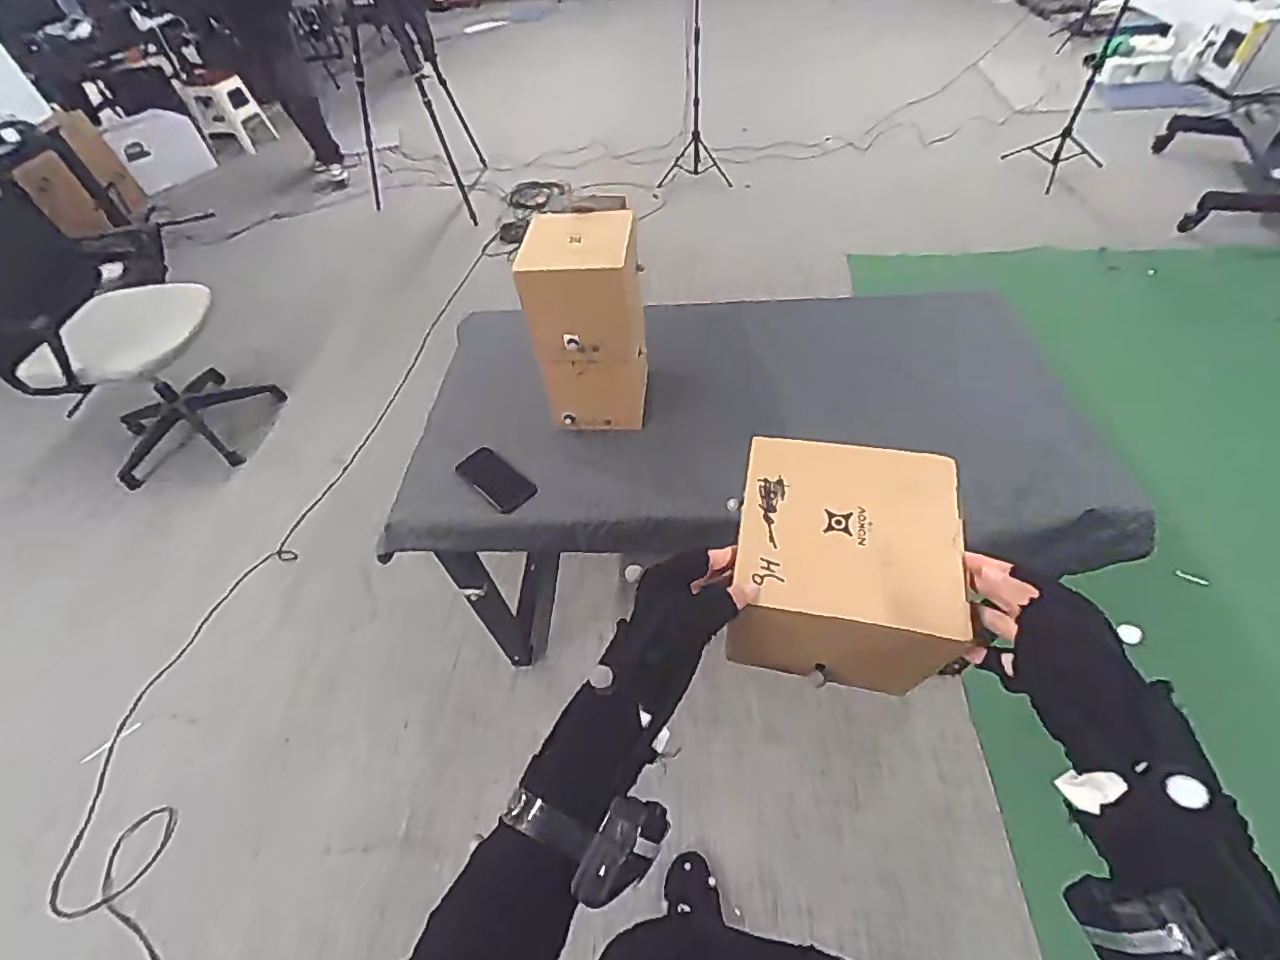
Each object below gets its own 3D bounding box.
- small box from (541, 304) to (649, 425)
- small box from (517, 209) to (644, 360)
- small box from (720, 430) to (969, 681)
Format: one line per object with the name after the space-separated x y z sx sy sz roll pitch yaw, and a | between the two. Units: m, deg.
-0.073 -0.217 1.007 0.168 0.176 0.179 1 50 6 | small box
-0.084 -0.315 0.879 0.168 0.176 0.179 0 52 6 | small box
0.177 0.077 0.511 0.179 0.176 0.168 8 56 11 | small box
